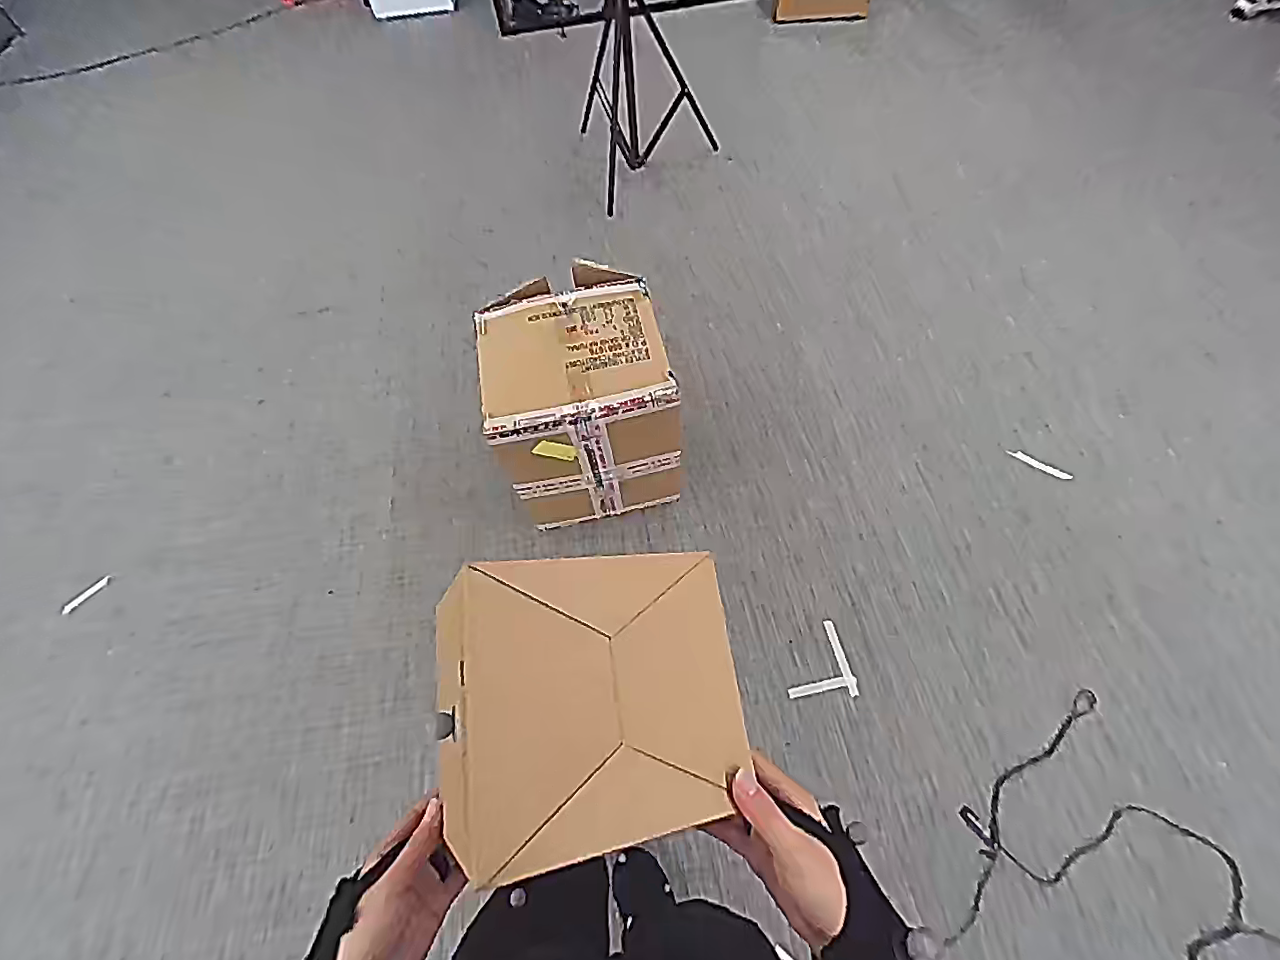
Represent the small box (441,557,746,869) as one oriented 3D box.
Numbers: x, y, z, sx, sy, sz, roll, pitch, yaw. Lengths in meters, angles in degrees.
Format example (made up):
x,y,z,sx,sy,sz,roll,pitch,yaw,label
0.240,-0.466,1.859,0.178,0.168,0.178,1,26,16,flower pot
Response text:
x,y,z,sx,sy,sz,roll,pitch,yaw,label
-0.047,0.158,0.402,0.179,0.176,0.168,2,68,-26,small box
